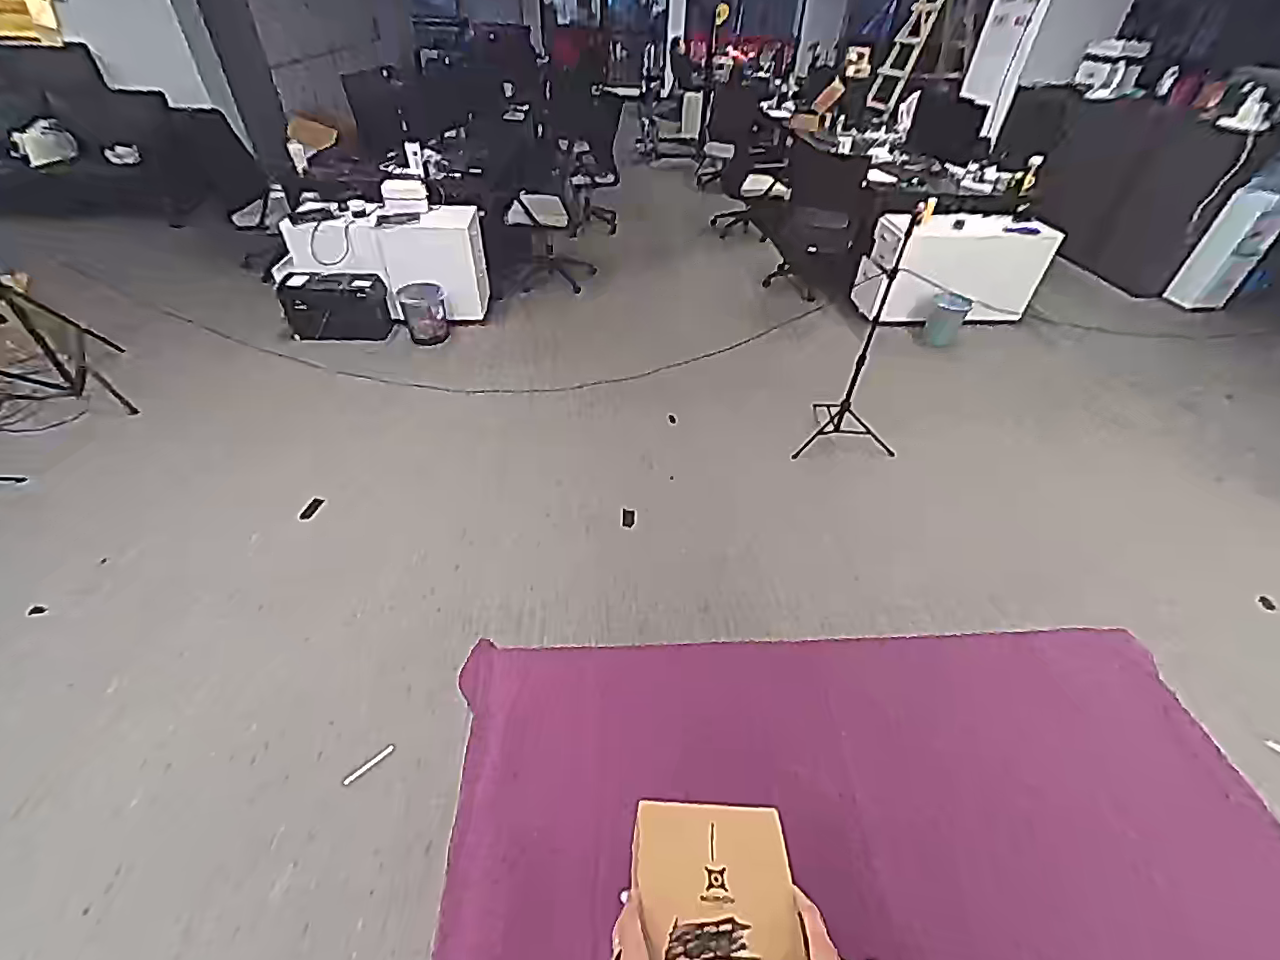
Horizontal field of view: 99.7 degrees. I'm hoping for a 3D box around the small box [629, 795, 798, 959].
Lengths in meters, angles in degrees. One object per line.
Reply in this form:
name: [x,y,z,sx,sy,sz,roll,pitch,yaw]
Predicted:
small box: [0.075,0.493,0.626,0.168,0.176,0.179,4,42,0]
